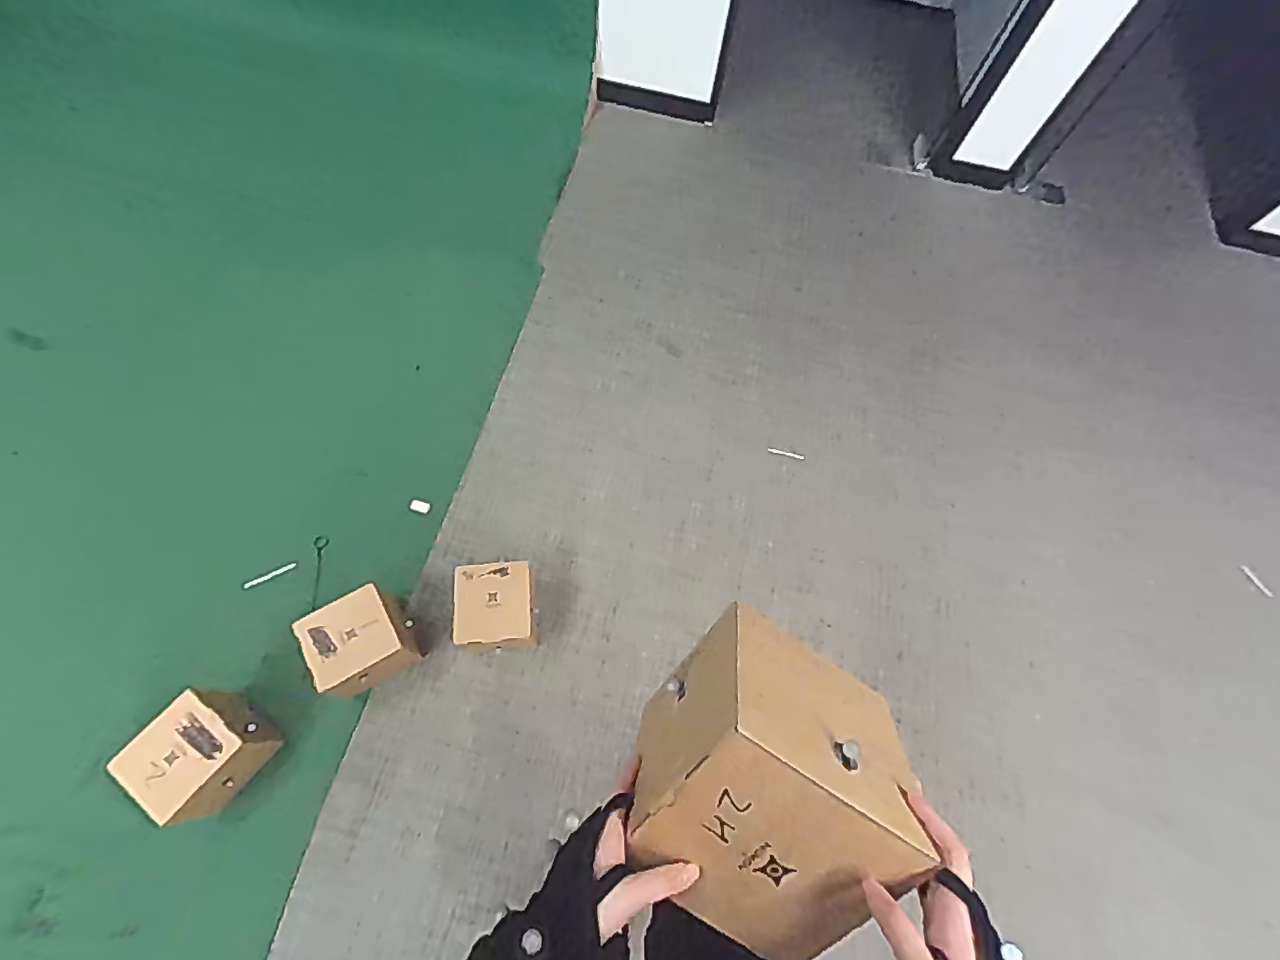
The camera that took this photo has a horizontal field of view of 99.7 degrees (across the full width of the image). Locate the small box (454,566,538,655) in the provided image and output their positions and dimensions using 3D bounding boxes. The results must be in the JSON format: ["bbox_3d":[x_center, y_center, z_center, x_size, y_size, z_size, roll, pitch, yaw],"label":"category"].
[{"bbox_3d":[-0.330,0.310,1.266,0.168,0.176,0.179,-3,66,-7],"label":"small box"}]

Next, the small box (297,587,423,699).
[{"bbox_3d":[-0.618,0.371,1.211,0.179,0.176,0.168,-28,71,-18],"label":"small box"}]
